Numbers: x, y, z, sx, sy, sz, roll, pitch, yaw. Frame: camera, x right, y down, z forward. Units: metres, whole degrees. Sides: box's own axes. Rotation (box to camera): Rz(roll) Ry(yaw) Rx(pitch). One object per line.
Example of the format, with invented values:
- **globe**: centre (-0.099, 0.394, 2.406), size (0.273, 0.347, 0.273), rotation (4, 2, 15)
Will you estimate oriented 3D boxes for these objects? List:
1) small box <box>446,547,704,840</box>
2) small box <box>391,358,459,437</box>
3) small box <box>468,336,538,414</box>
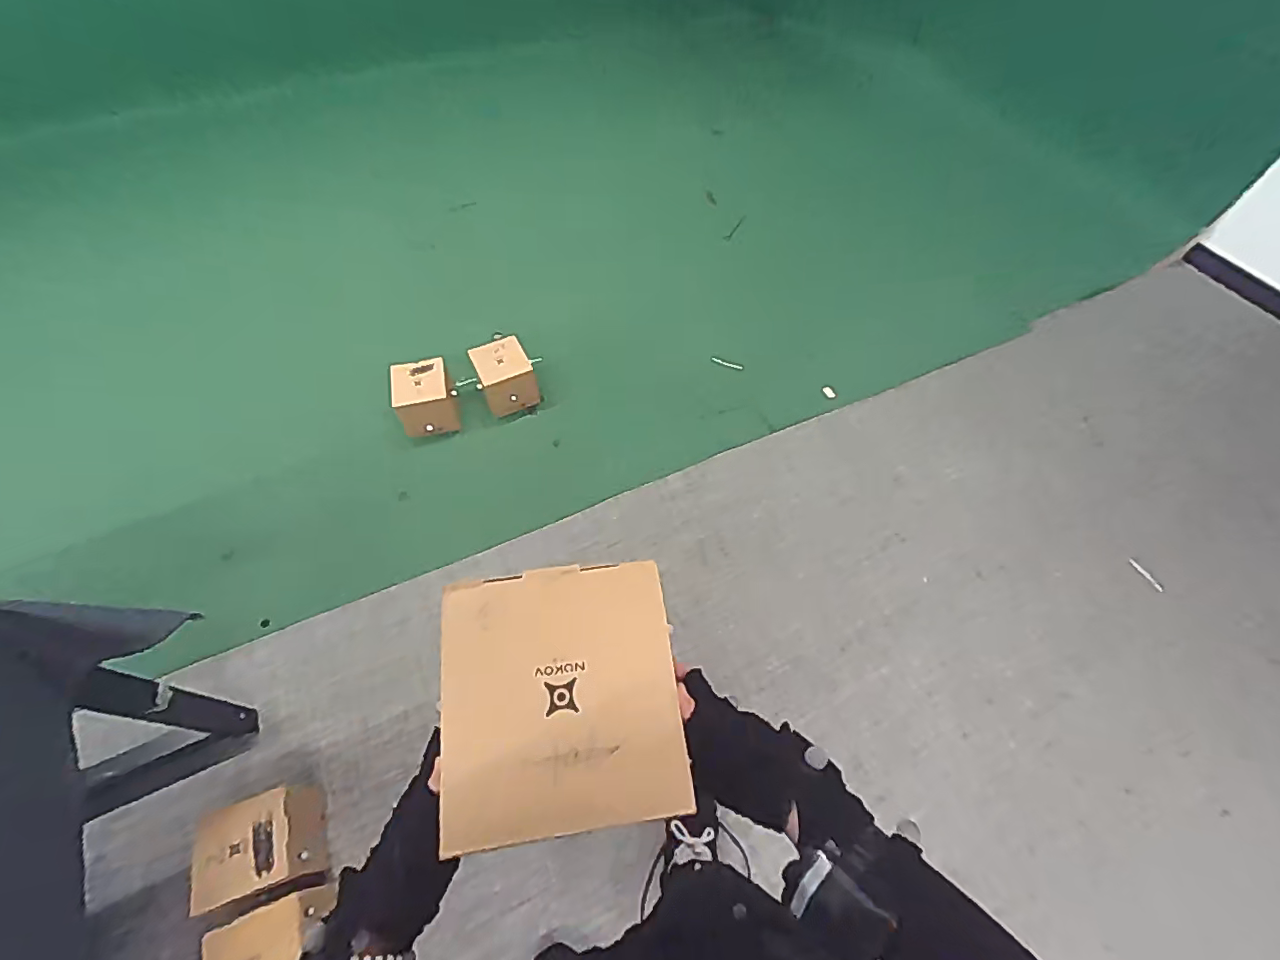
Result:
- **small box**: centre (-0.055, 0.170, 0.446), size (0.168, 0.176, 0.179), rotation (-6, 66, -7)
- **small box**: centre (-0.694, -0.266, 1.754), size (0.168, 0.176, 0.179), rotation (-12, 60, -8)
- **small box**: centre (-0.453, -0.342, 1.807), size (0.168, 0.176, 0.179), rotation (-22, 61, -15)
